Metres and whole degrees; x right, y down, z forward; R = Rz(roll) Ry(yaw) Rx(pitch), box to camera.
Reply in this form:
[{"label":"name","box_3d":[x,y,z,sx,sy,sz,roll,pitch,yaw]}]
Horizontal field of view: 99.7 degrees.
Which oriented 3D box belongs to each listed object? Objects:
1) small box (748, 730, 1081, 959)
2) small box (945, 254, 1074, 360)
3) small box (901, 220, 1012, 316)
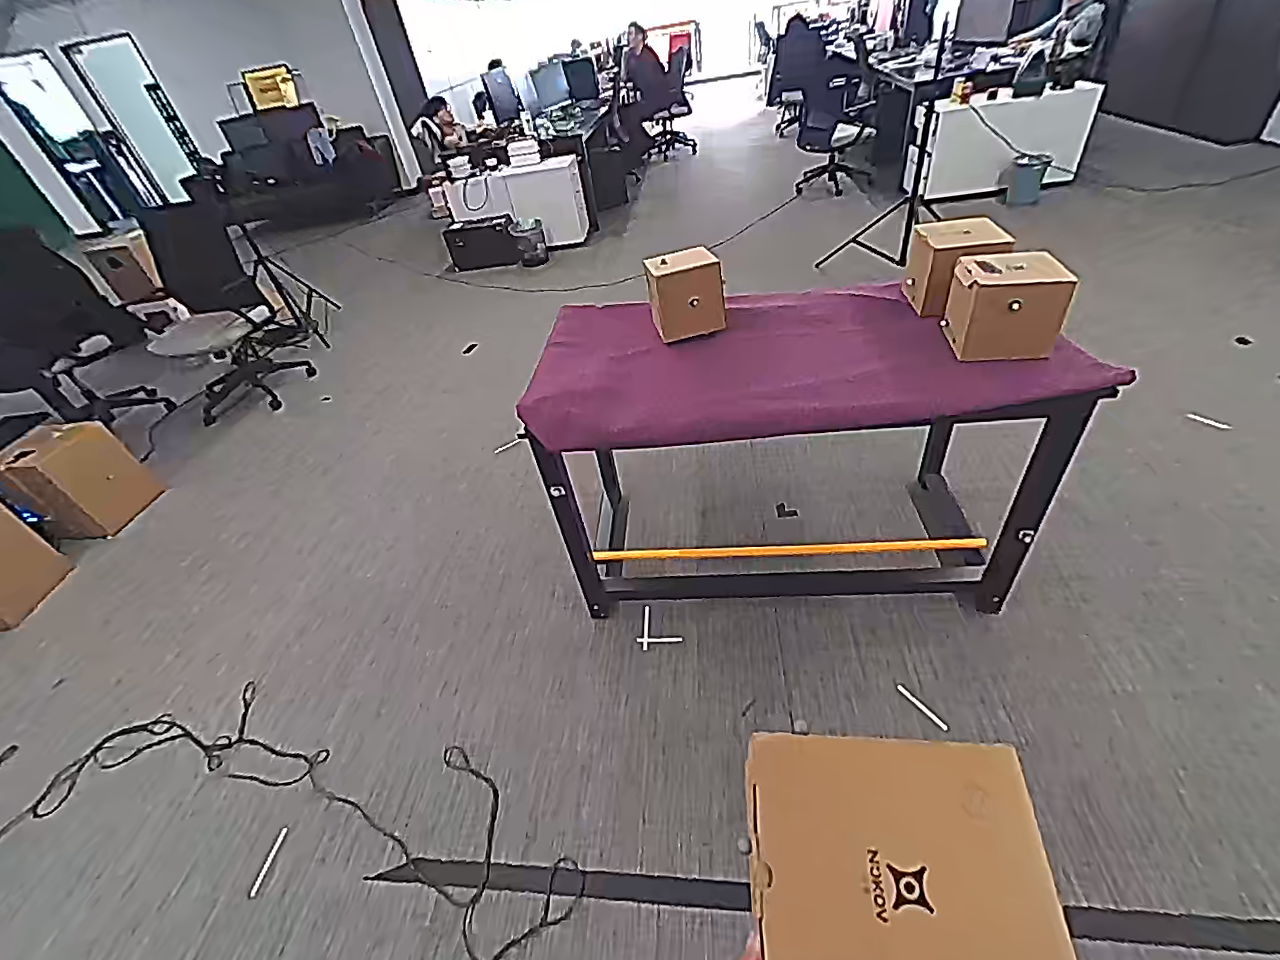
[{"label":"small box","box_3d":[0.172,0.287,0.395,0.179,0.176,0.168,-3,56,10]},{"label":"small box","box_3d":[0.775,-0.369,1.161,0.179,0.176,0.168,1,40,13]},{"label":"small box","box_3d":[0.772,-0.523,1.340,0.179,0.176,0.168,-3,42,8]}]
